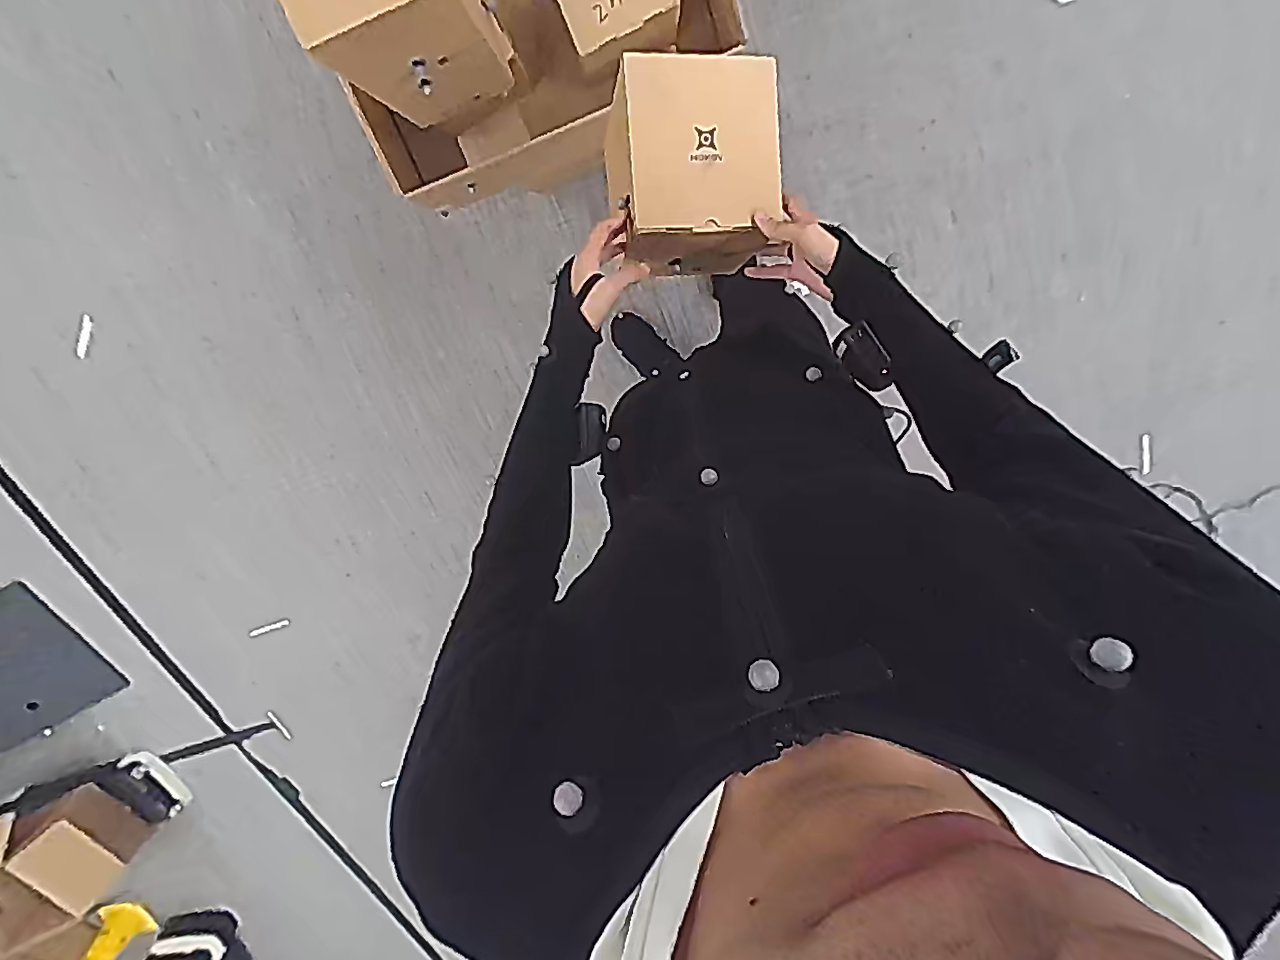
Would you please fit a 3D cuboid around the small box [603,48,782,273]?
[{"bbox_3d":[0.052,-0.361,0.642,0.168,0.176,0.179,-6,96,-10],"label":"small box"}]

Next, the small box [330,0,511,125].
[{"bbox_3d":[-0.295,-0.619,0.727,0.168,0.176,0.179,-19,110,7],"label":"small box"}]
